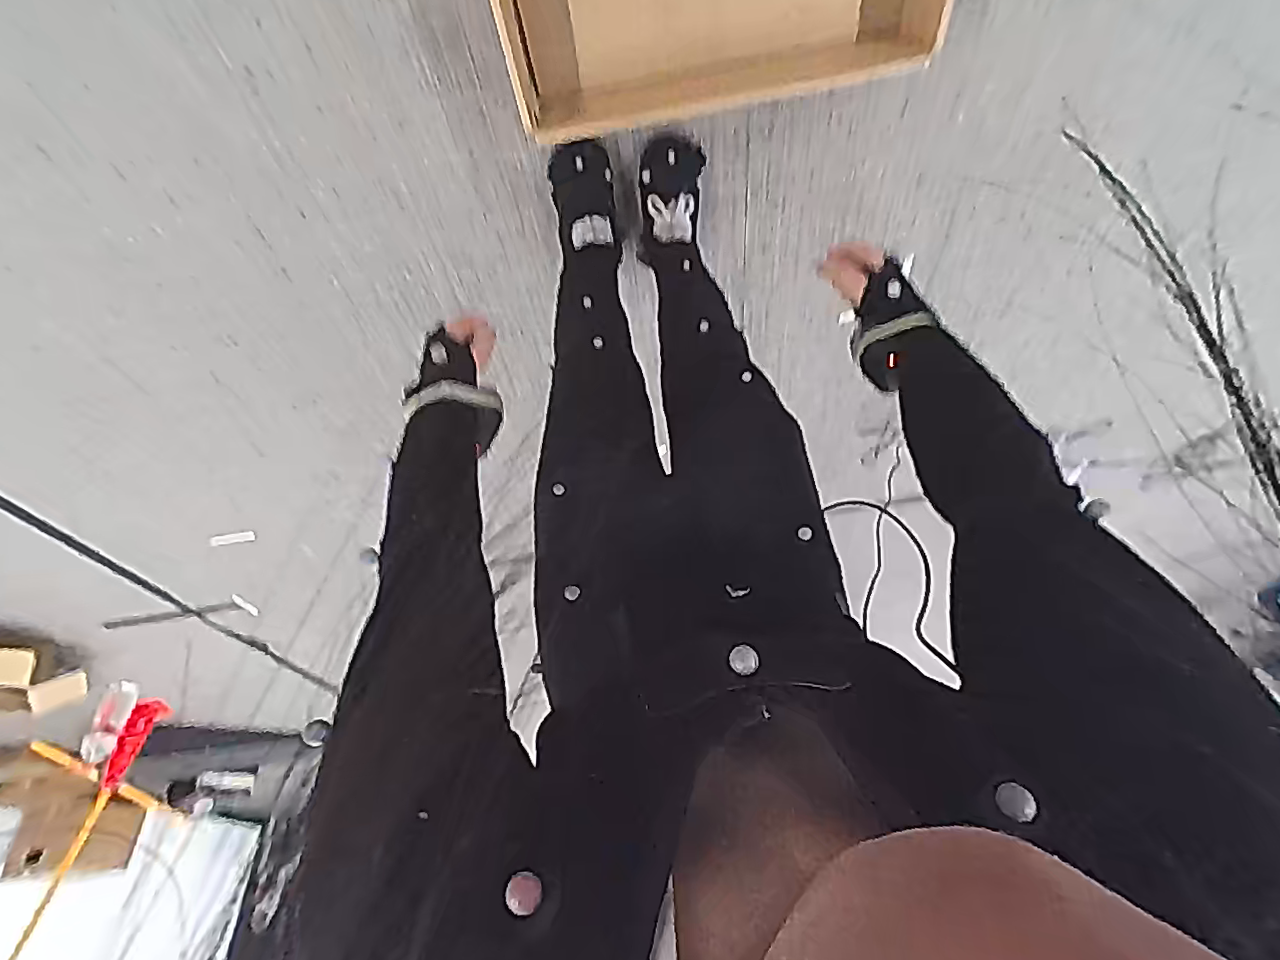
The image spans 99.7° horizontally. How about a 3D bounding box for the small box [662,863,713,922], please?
[{"bbox_3d":[0.189,1.684,2.208,0.179,0.176,0.168,-7,139,-4],"label":"small box"}]
